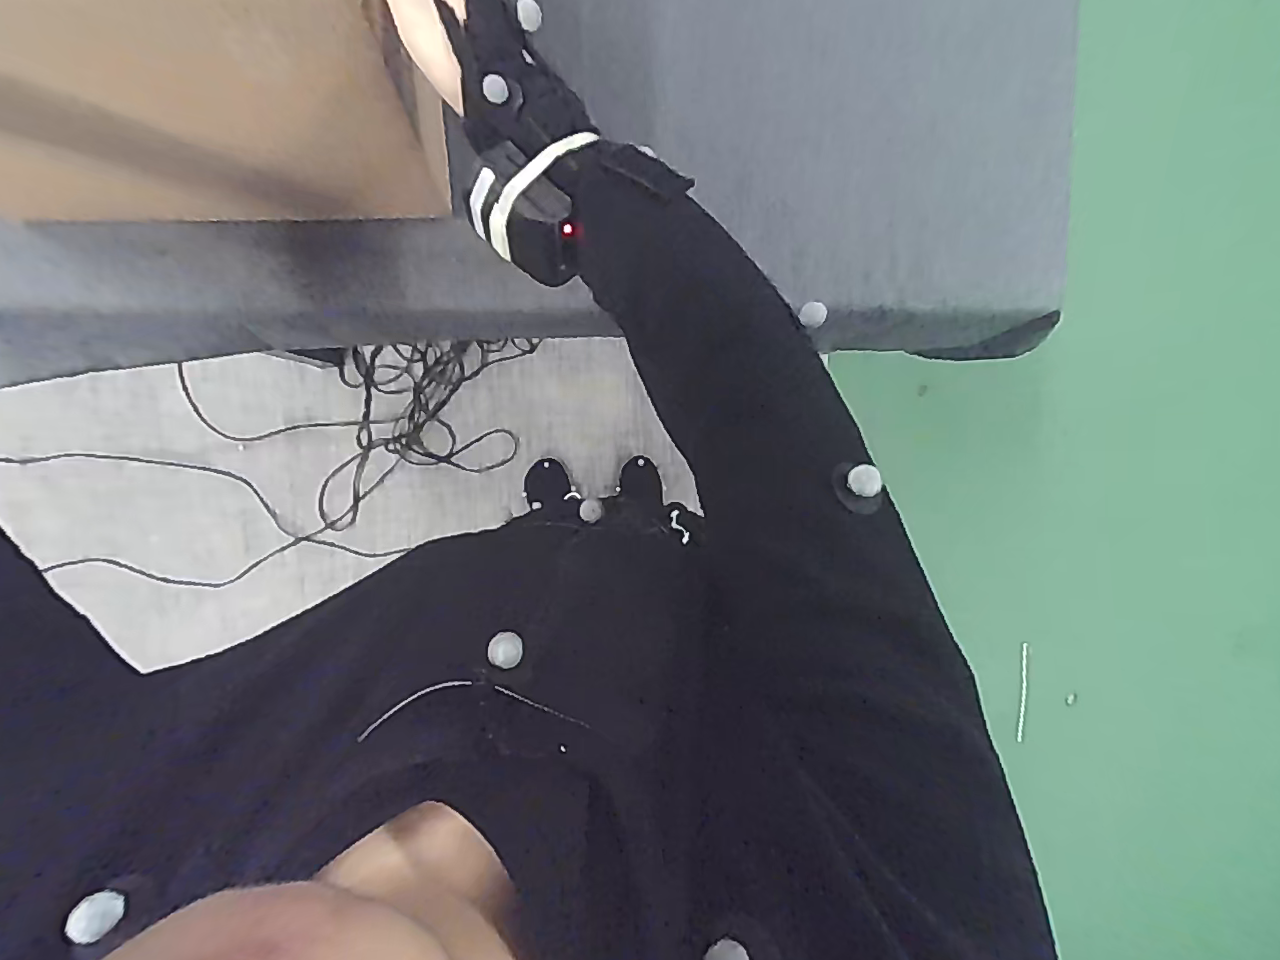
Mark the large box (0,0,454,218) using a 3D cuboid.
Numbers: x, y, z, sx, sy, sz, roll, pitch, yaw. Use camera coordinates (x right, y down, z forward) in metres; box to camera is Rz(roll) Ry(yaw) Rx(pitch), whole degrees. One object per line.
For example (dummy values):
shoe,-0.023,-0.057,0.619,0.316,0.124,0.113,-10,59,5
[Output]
large box,-0.374,-0.404,0.379,0.408,0.320,0.320,-6,97,-11
